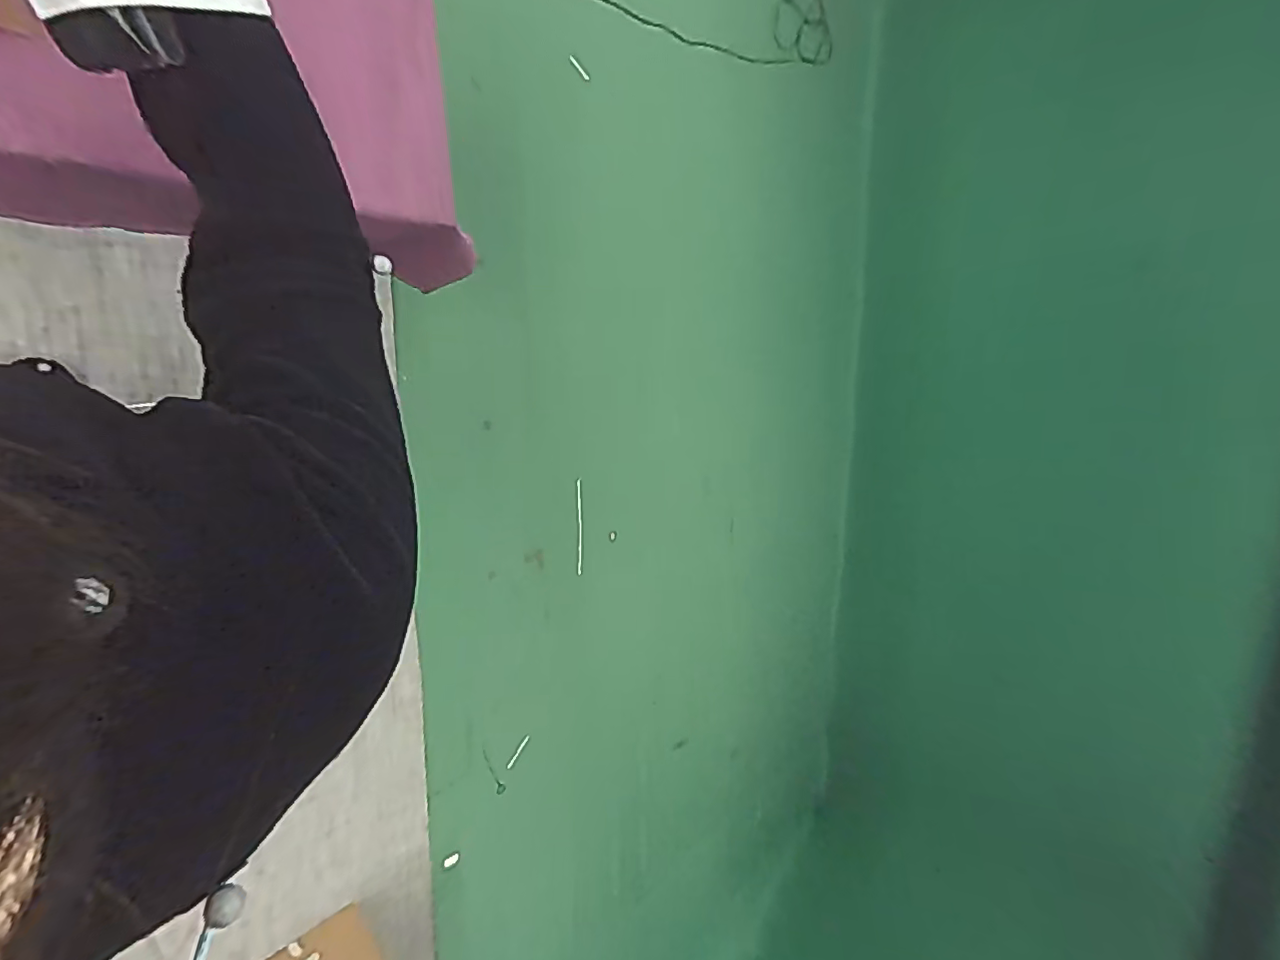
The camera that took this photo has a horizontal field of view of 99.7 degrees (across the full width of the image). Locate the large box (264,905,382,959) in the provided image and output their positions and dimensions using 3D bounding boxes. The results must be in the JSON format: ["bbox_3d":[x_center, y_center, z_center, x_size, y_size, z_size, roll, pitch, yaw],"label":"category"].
[{"bbox_3d":[-0.841,1.468,1.416,0.320,0.320,0.408,-12,107,-46],"label":"large box"}]
